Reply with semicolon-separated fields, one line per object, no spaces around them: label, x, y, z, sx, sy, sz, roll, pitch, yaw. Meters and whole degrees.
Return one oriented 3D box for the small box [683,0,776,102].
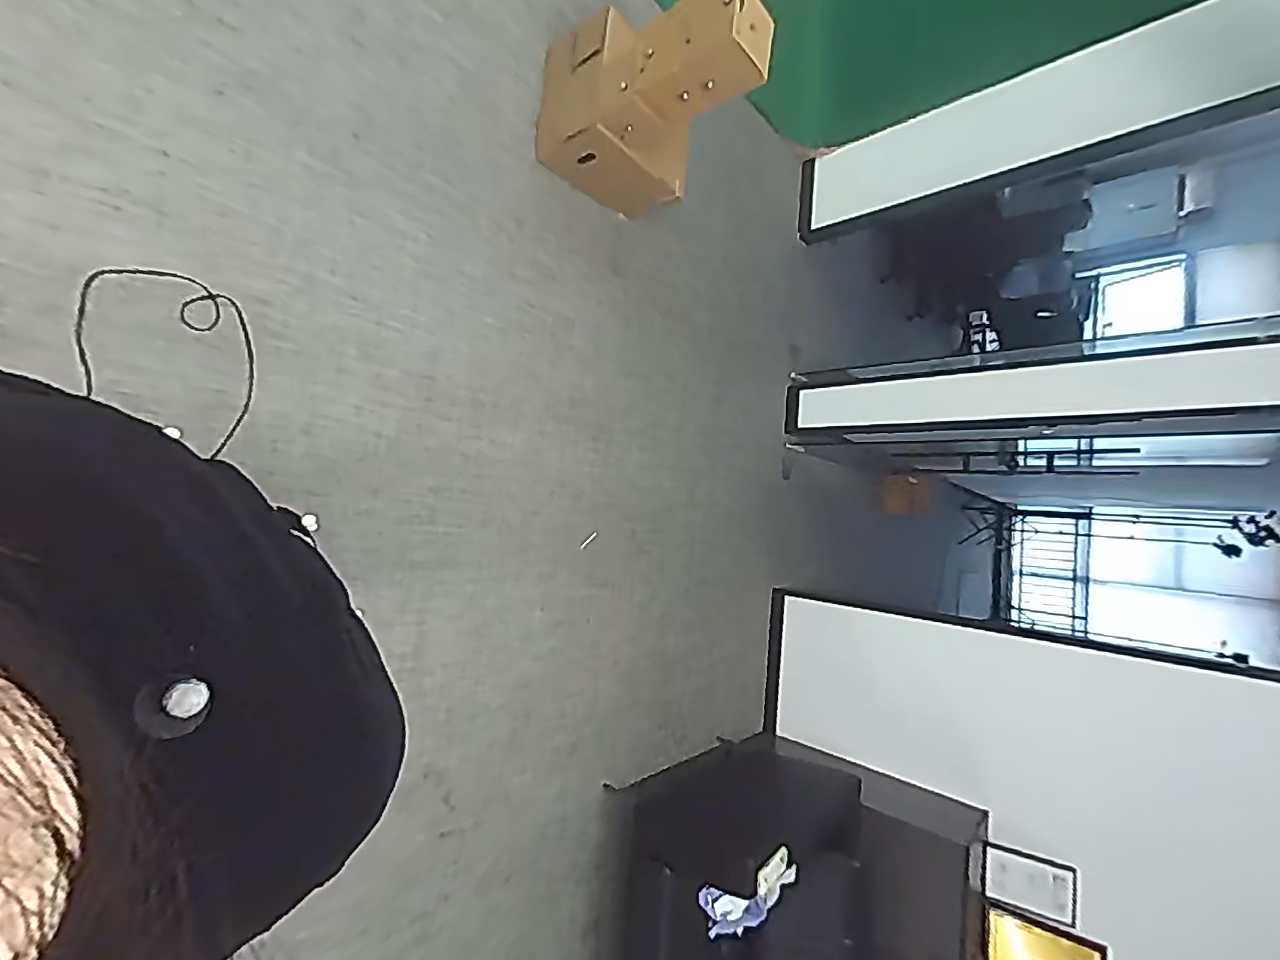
small box;0.238;-1.149;1.434;0.179;0.176;0.168;11;84;-48

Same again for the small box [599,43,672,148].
small box;-0.007;-1.161;1.652;0.168;0.176;0.179;11;84;-48

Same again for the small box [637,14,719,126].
small box;0.117;-1.155;1.546;0.179;0.176;0.168;11;84;-47
